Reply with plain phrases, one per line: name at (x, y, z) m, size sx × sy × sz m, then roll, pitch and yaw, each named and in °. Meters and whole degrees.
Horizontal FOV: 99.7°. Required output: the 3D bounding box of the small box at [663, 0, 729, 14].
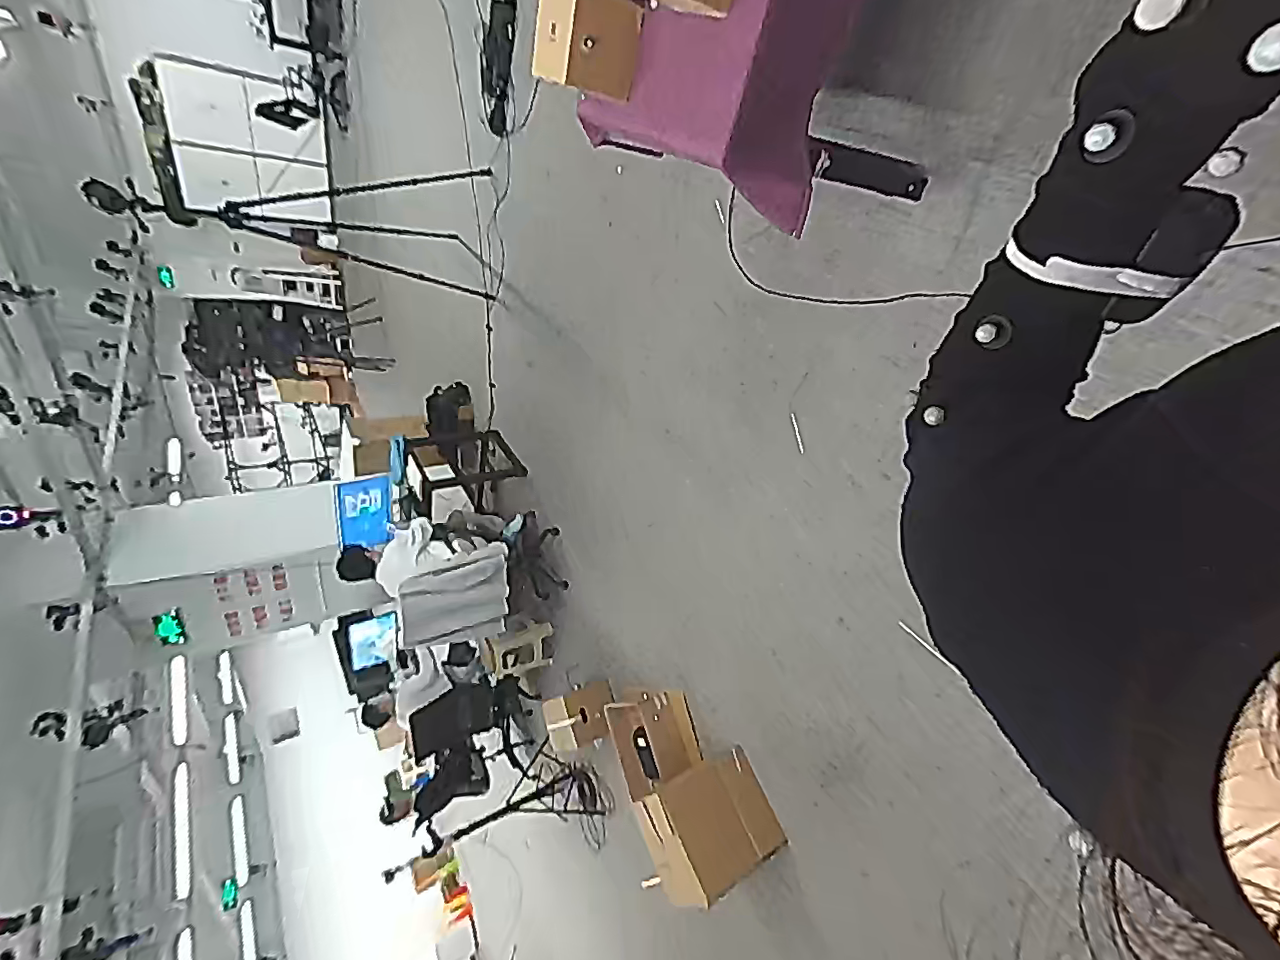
small box at (0.073, -0.939, 0.928) m, size 0.168 × 0.176 × 0.179 m, roll 49°, pitch 135°, yaw 36°
